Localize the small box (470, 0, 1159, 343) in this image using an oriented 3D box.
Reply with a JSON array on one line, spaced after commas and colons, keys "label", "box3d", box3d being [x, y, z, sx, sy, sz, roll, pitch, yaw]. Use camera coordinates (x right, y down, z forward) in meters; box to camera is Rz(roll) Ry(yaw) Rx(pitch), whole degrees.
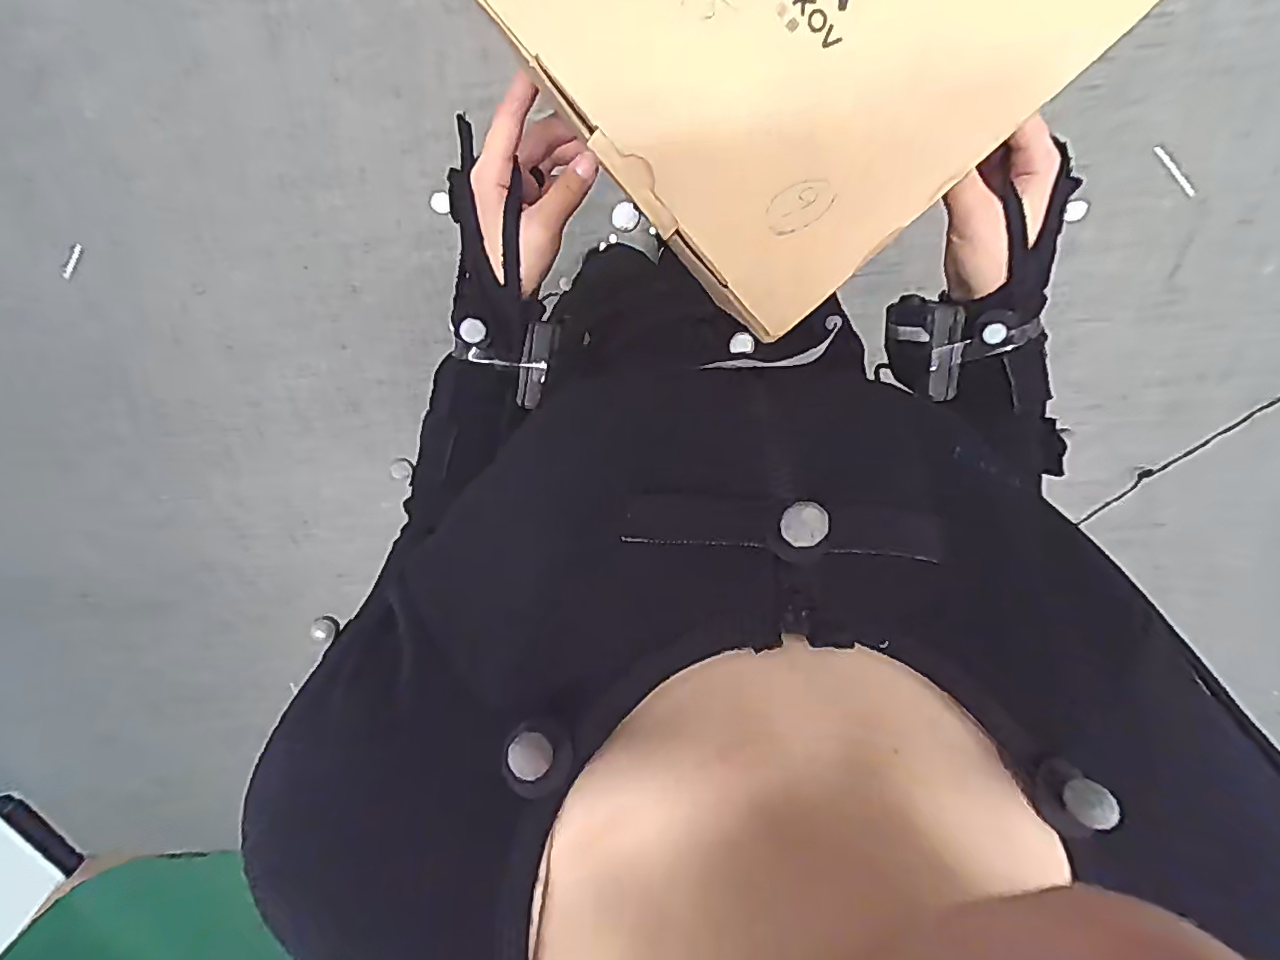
[{"label": "small box", "box3d": [0.061, -0.193, 0.255, 0.179, 0.176, 0.168, -40, 105, 17]}]
